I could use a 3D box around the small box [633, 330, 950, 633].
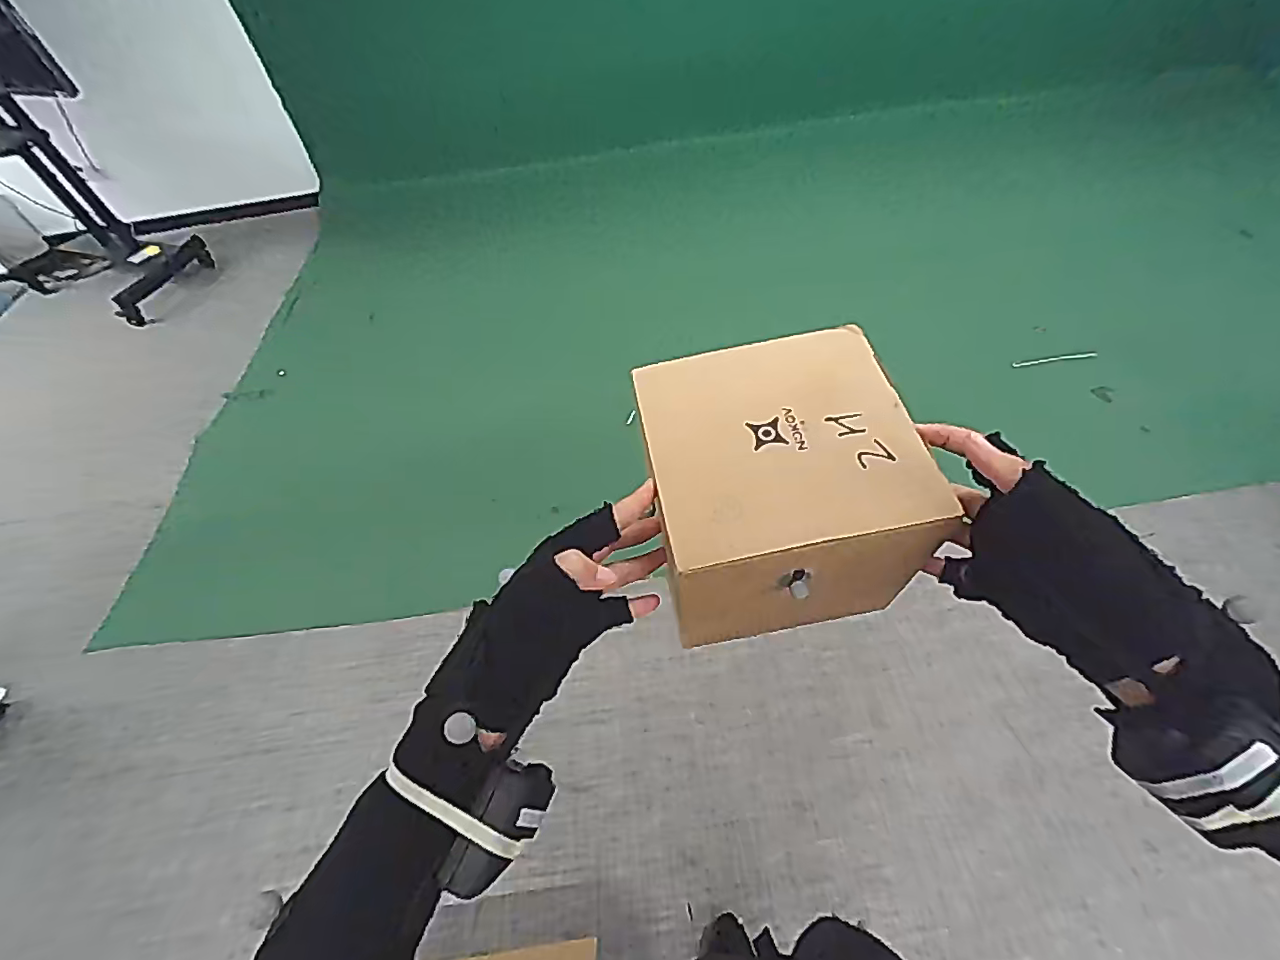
[{"bbox_3d":[0.099,0.011,0.435,0.179,0.176,0.168,-11,59,-1],"label":"small box"}]
